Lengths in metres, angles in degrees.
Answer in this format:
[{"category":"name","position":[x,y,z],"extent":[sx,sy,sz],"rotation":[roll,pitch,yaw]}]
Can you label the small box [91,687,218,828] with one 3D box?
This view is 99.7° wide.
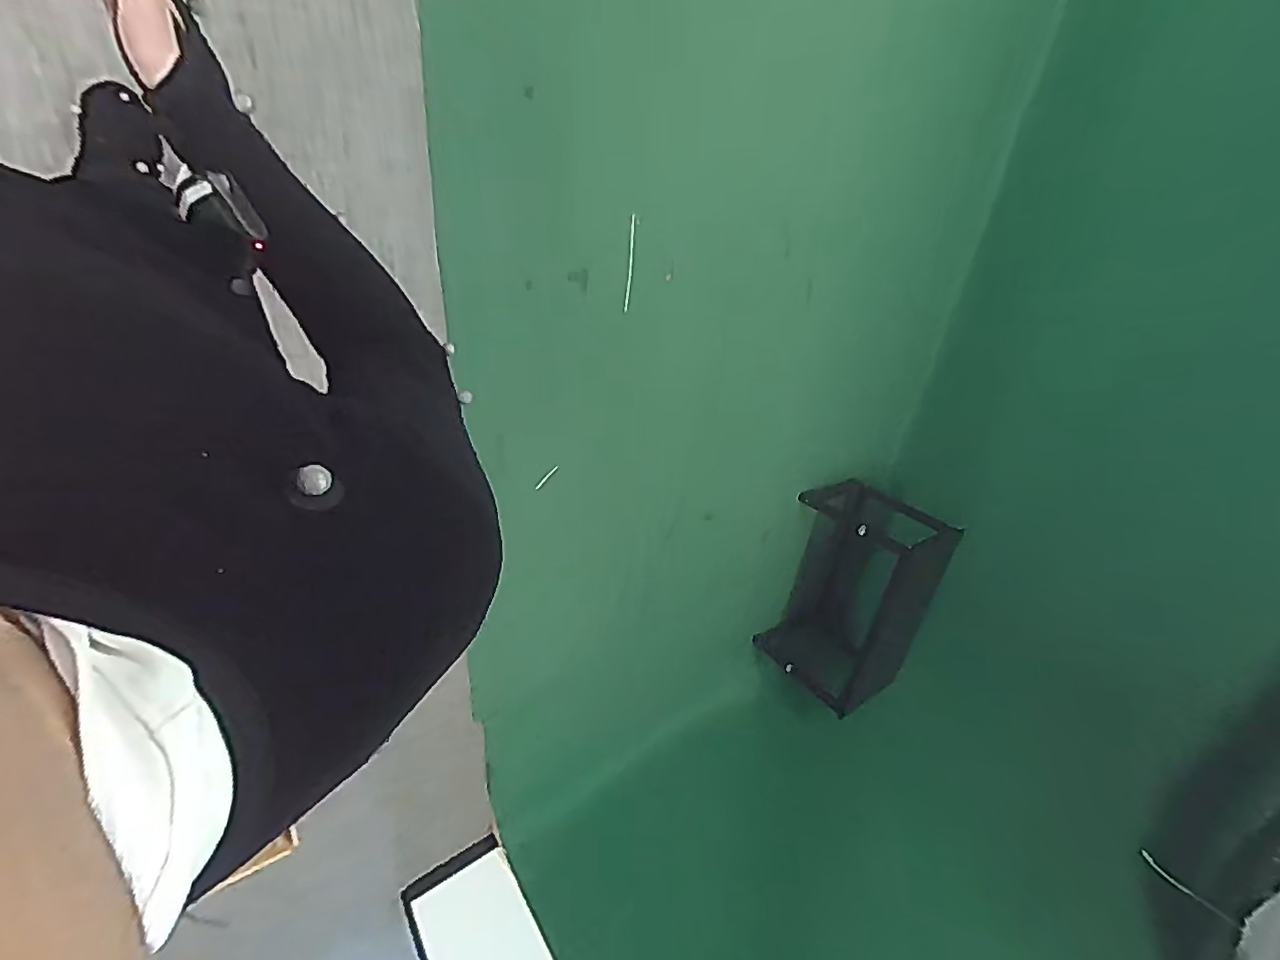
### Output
[{"category":"small box","position":[-0.997,0.557,1.118],"extent":[0.168,0.176,0.179],"rotation":[-11,124,-36]}]
